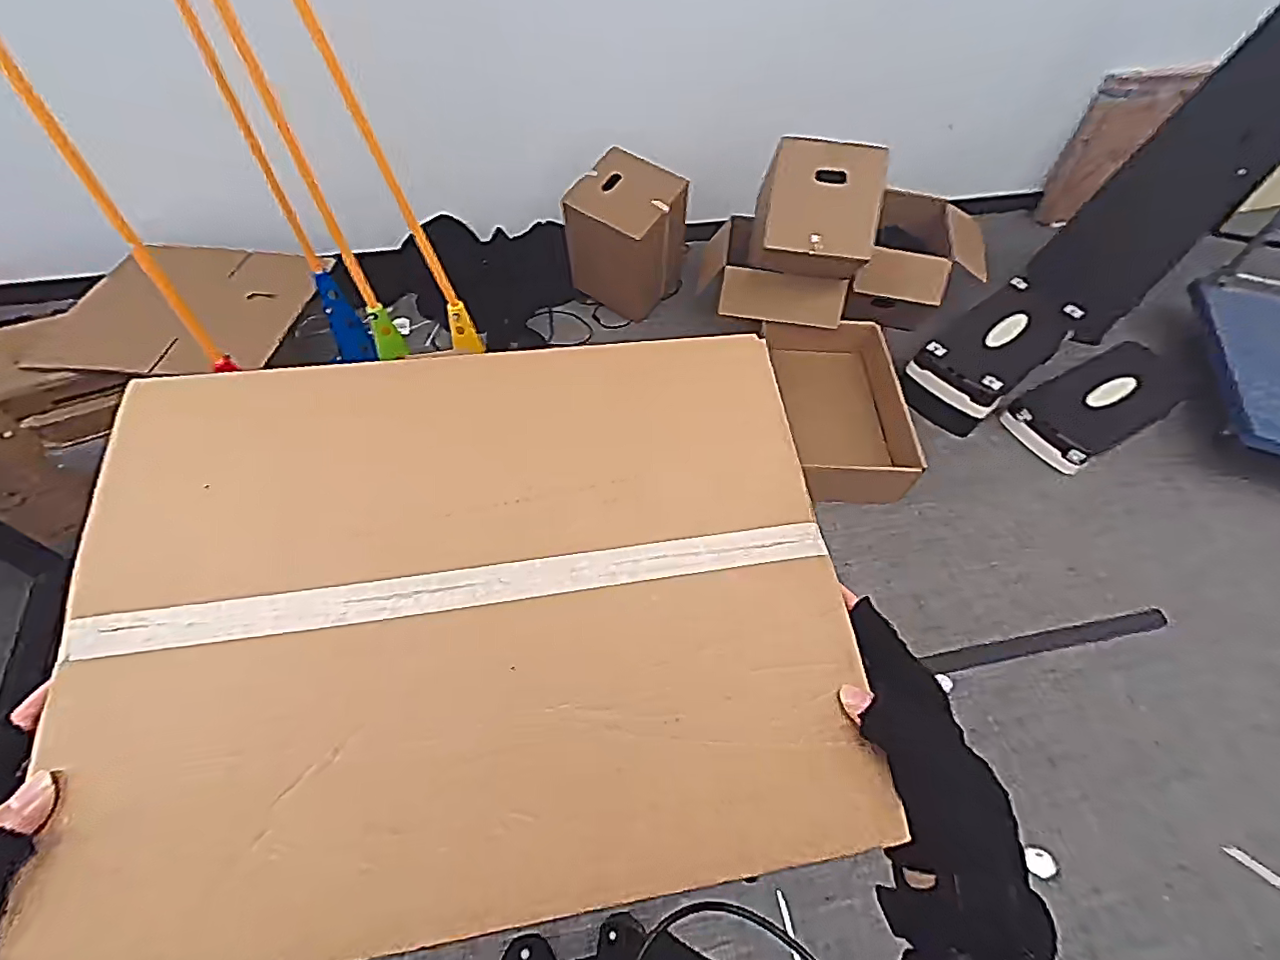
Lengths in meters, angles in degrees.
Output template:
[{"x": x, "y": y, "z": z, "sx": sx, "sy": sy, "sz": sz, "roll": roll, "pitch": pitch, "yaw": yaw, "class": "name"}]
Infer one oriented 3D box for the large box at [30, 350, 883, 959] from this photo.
[{"x": -0.100, "y": 0.126, "z": 0.444, "sx": 0.408, "sy": 0.320, "sz": 0.320, "roll": -6, "pitch": 67, "yaw": -7, "class": "large box"}]
